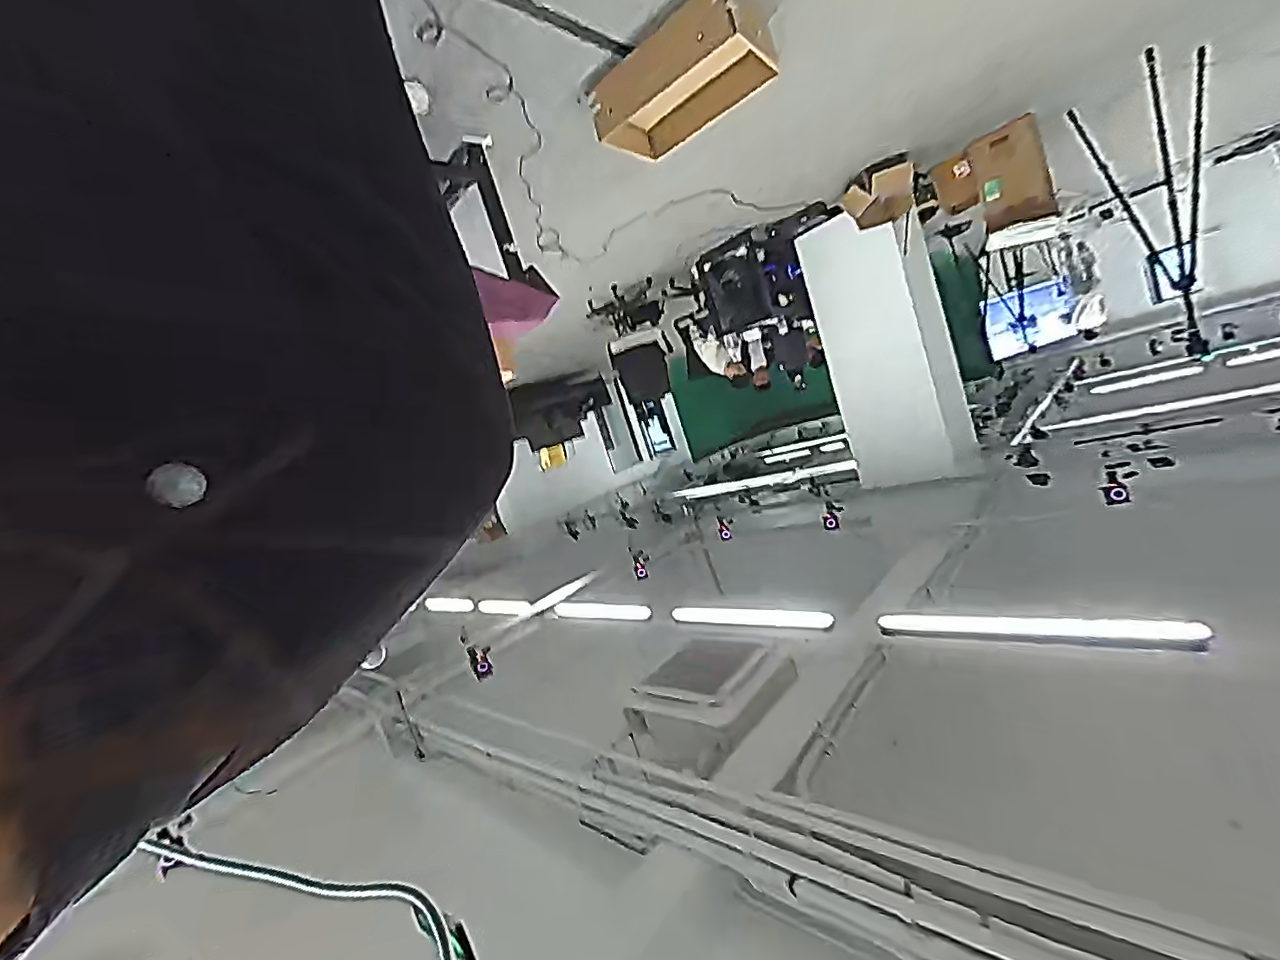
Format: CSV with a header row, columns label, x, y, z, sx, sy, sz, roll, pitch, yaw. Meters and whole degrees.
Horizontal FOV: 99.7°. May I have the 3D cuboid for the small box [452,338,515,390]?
label,x,y,z,sx,sy,sz,roll,pitch,yaw
small box,-0.666,-0.494,2.281,0.179,0.176,0.168,-13,-173,40
